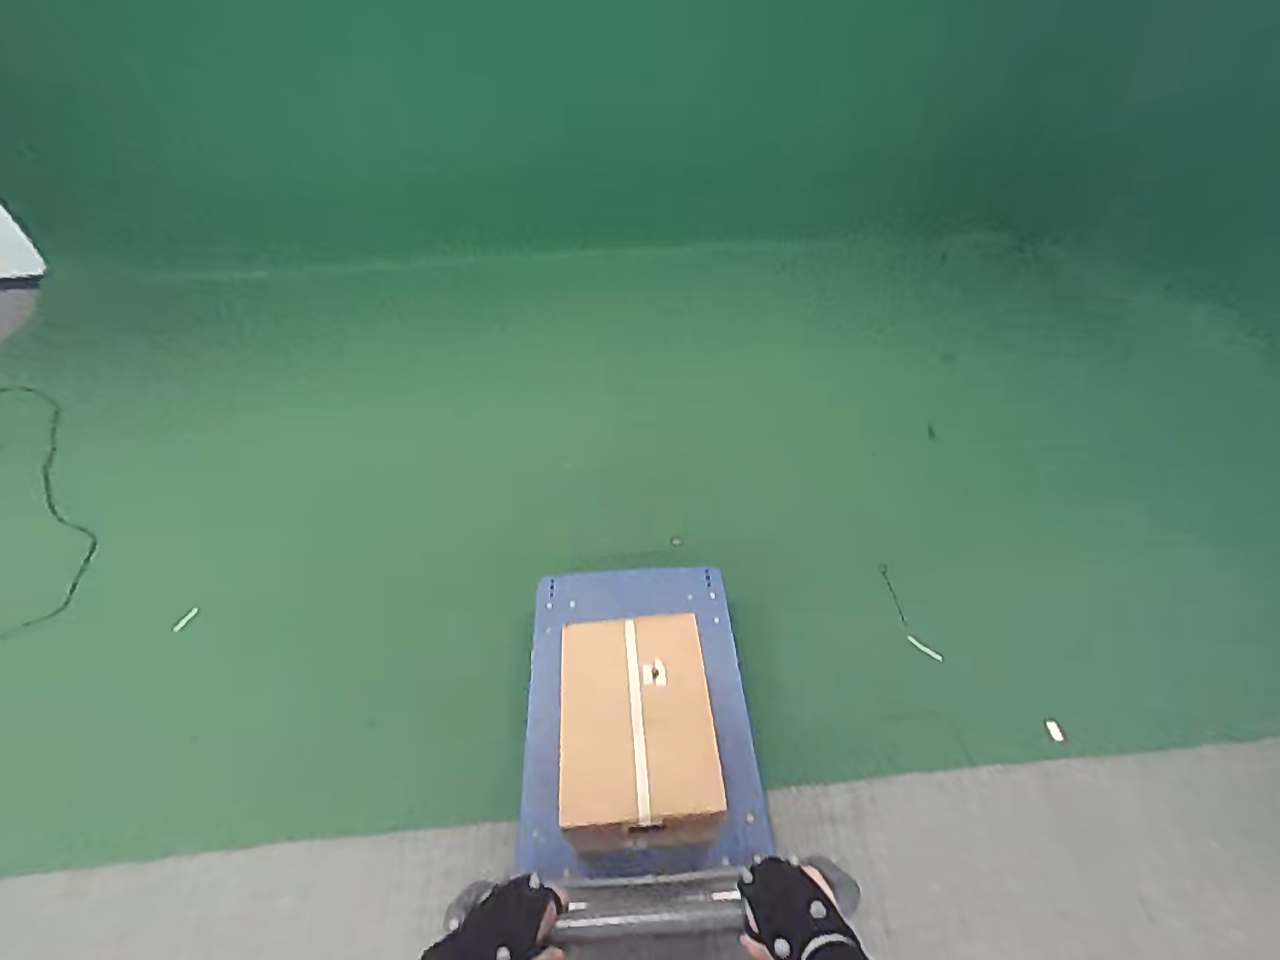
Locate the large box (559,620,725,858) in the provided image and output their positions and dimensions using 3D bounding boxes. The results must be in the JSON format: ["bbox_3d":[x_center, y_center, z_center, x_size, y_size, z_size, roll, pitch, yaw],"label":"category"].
[{"bbox_3d":[-0.007,0.588,1.237,0.320,0.320,0.408,-4,48,-3],"label":"large box"}]
